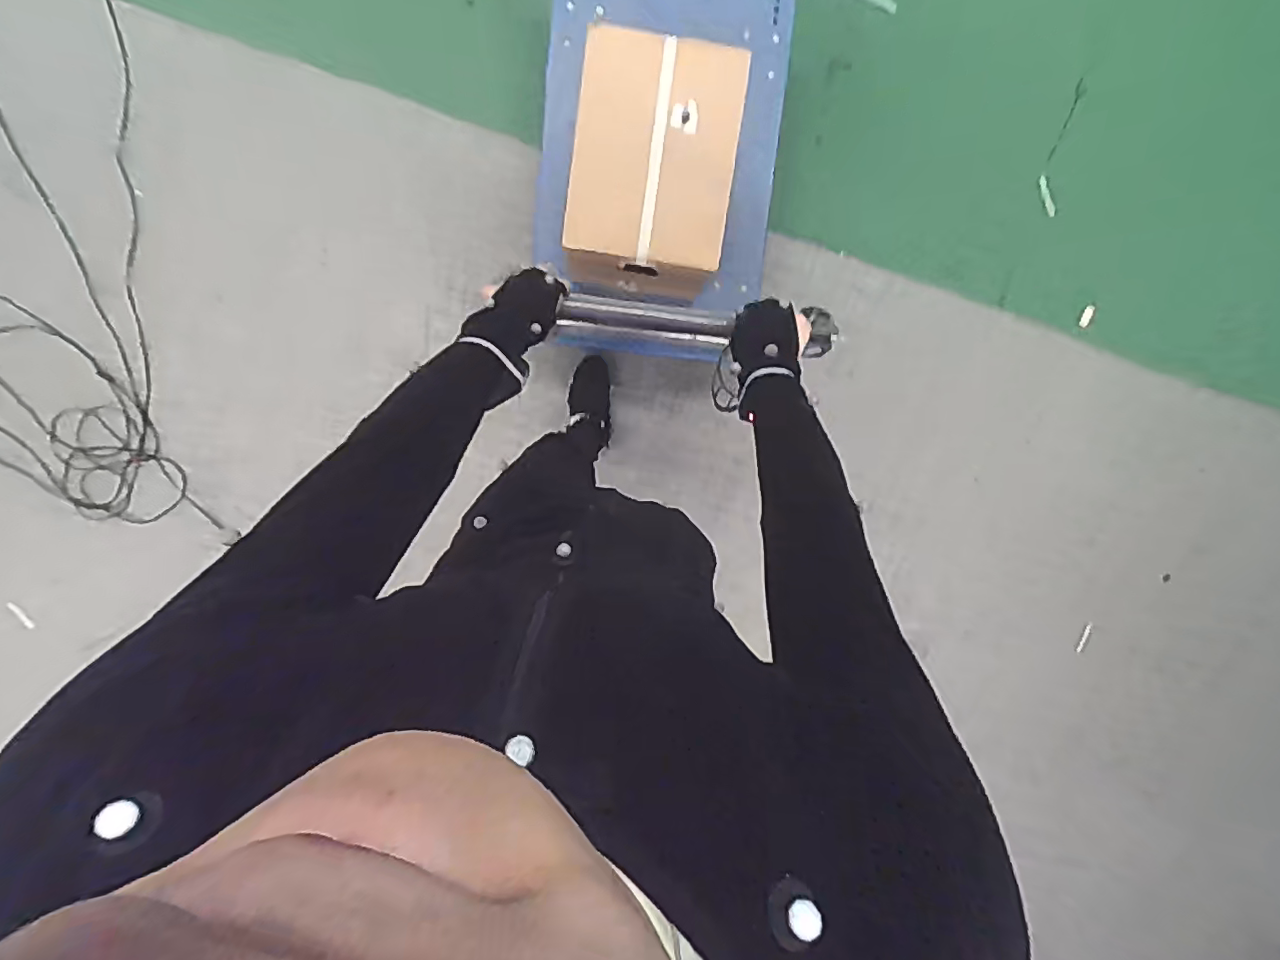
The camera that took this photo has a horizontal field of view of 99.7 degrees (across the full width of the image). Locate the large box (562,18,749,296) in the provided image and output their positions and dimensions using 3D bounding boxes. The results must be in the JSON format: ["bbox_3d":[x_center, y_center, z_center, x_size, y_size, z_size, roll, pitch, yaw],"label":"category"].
[{"bbox_3d":[0.020,-0.650,1.169,0.320,0.320,0.408,8,97,-5],"label":"large box"}]
